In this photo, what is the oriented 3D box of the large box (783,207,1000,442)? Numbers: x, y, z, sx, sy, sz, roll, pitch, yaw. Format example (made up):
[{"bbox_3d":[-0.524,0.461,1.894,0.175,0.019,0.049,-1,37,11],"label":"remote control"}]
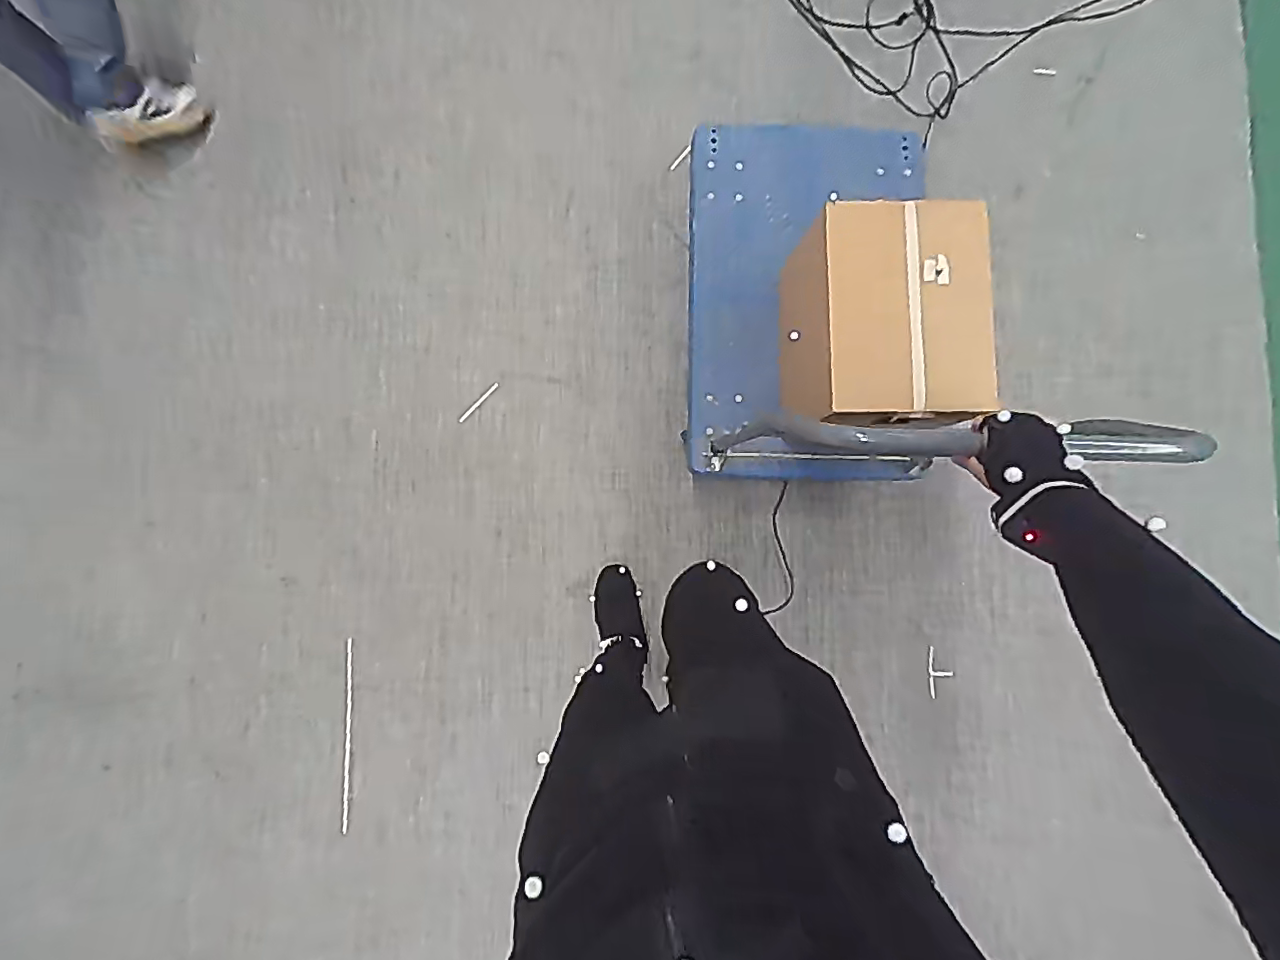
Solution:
[{"bbox_3d":[0.503,-0.303,1.156,0.320,0.320,0.408,0,85,-3],"label":"large box"}]
